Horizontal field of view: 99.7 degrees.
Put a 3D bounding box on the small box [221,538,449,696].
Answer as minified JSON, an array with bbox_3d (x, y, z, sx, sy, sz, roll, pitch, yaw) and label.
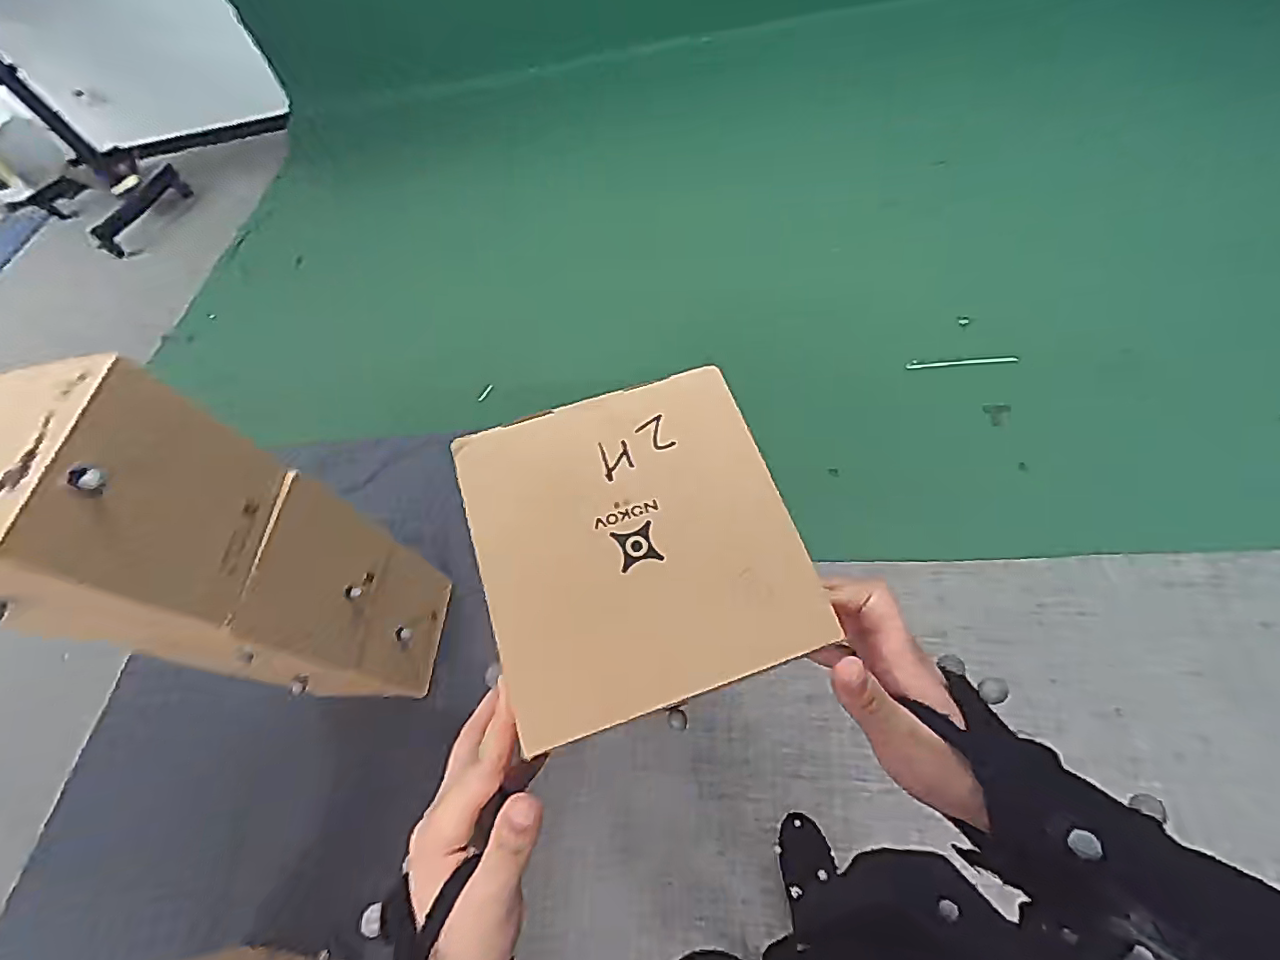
[{"bbox_3d":[-0.380,0.185,0.713,0.179,0.176,0.168,-4,60,12],"label":"small box"}]

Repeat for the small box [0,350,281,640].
[{"bbox_3d":[-0.445,0.025,0.432,0.179,0.176,0.168,-7,60,10],"label":"small box"}]

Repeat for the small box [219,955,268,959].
[{"bbox_3d":[-0.403,0.571,0.494,0.168,0.176,0.179,-2,61,12],"label":"small box"}]
